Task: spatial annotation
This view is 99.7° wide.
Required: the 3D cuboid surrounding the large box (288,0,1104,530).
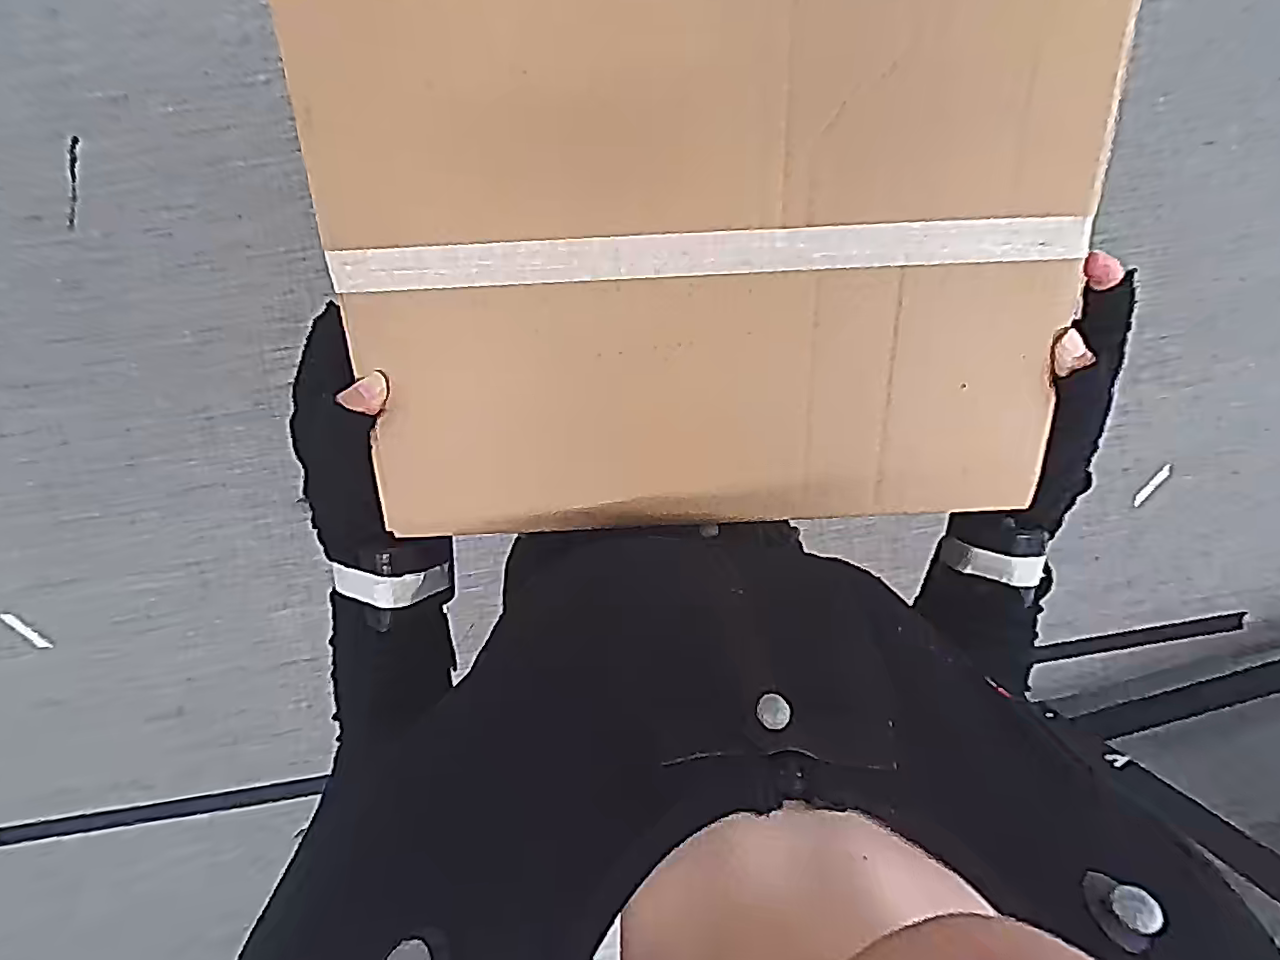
[{"bbox_3d":[0.030,-0.172,0.441,0.408,0.320,0.320,-3,111,-1],"label":"large box"}]
